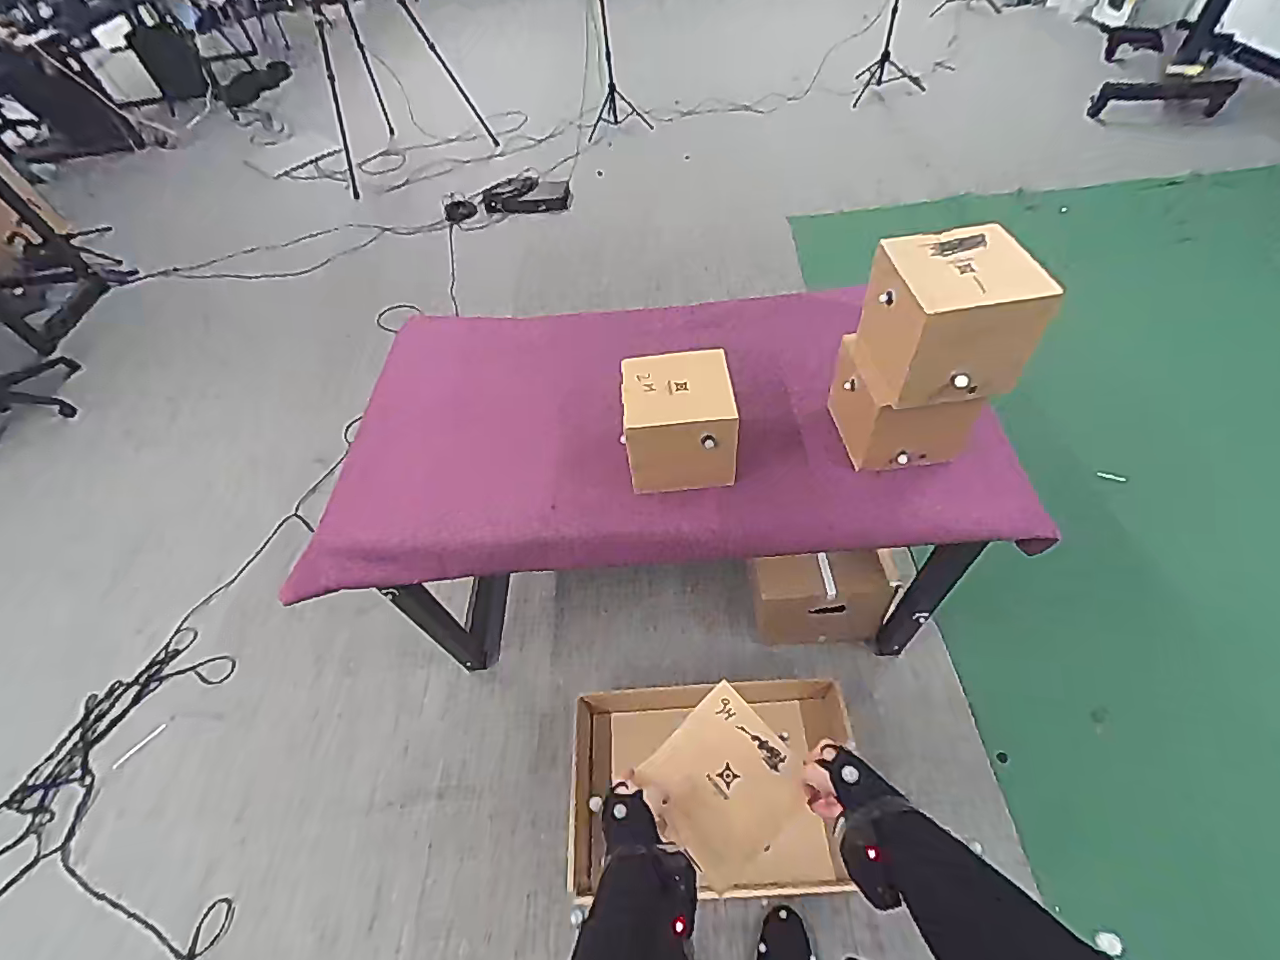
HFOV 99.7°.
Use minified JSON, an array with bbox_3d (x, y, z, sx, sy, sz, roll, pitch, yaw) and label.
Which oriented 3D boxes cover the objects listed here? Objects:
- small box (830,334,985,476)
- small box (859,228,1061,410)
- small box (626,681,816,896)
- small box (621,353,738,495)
[{"bbox_3d":[0.429,-0.130,0.899,0.168,0.176,0.179,-8,51,4],"label":"small box"},{"bbox_3d":[0.427,-0.224,0.763,0.168,0.176,0.179,-8,51,4],"label":"small box"},{"bbox_3d":[0.111,0.400,0.730,0.179,0.176,0.168,-42,65,-9],"label":"small box"},{"bbox_3d":[0.065,-0.091,0.916,0.179,0.176,0.168,-6,51,3],"label":"small box"}]
